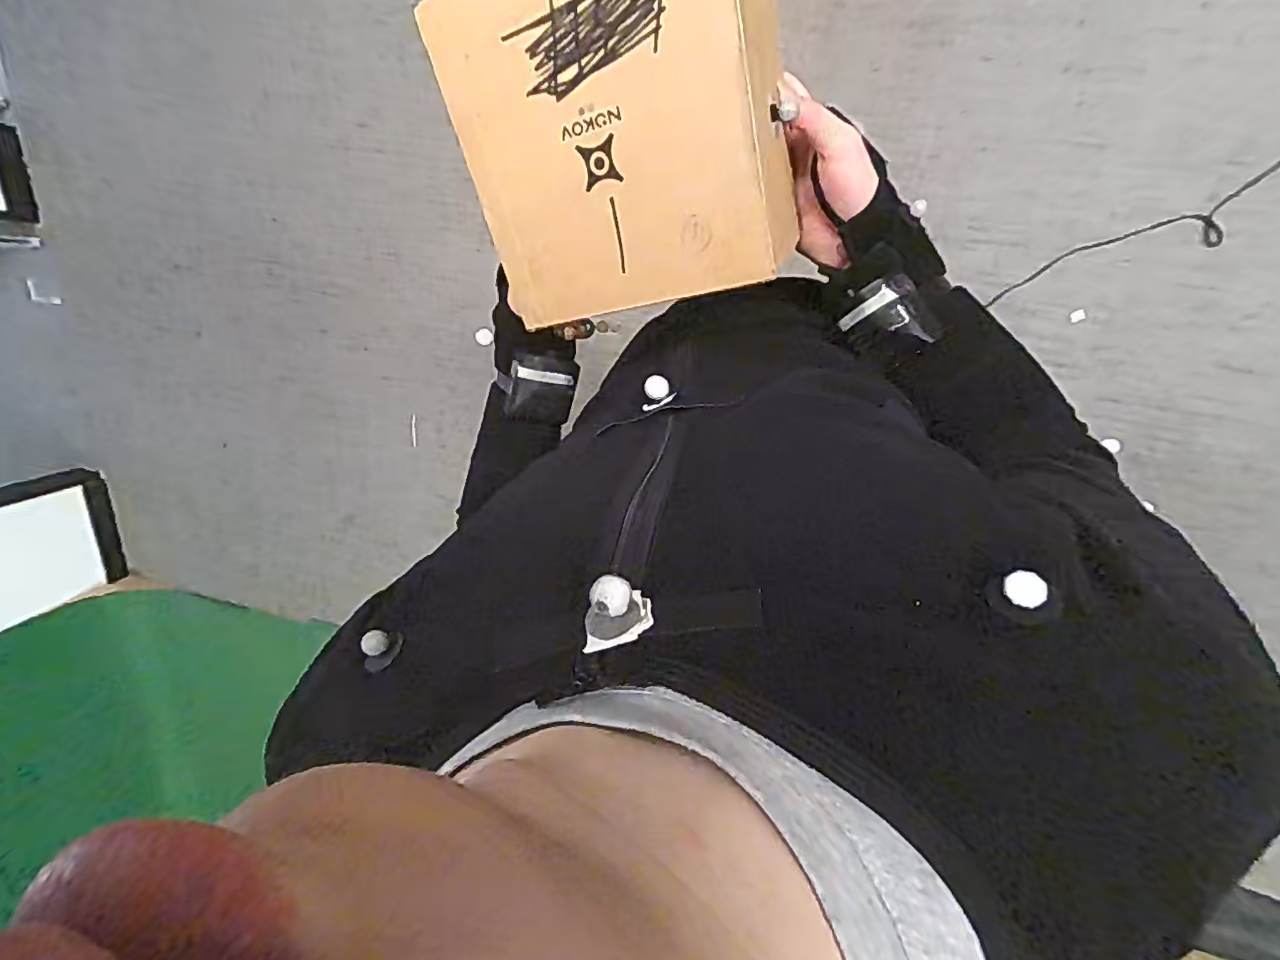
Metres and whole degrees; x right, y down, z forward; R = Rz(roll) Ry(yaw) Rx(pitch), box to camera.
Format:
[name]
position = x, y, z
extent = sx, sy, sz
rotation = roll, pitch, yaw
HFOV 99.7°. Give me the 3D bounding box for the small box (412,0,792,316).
[small box]
position = 0.000, -0.224, 0.348
extent = 0.168, 0.176, 0.179
rotation = -2, 120, 24
